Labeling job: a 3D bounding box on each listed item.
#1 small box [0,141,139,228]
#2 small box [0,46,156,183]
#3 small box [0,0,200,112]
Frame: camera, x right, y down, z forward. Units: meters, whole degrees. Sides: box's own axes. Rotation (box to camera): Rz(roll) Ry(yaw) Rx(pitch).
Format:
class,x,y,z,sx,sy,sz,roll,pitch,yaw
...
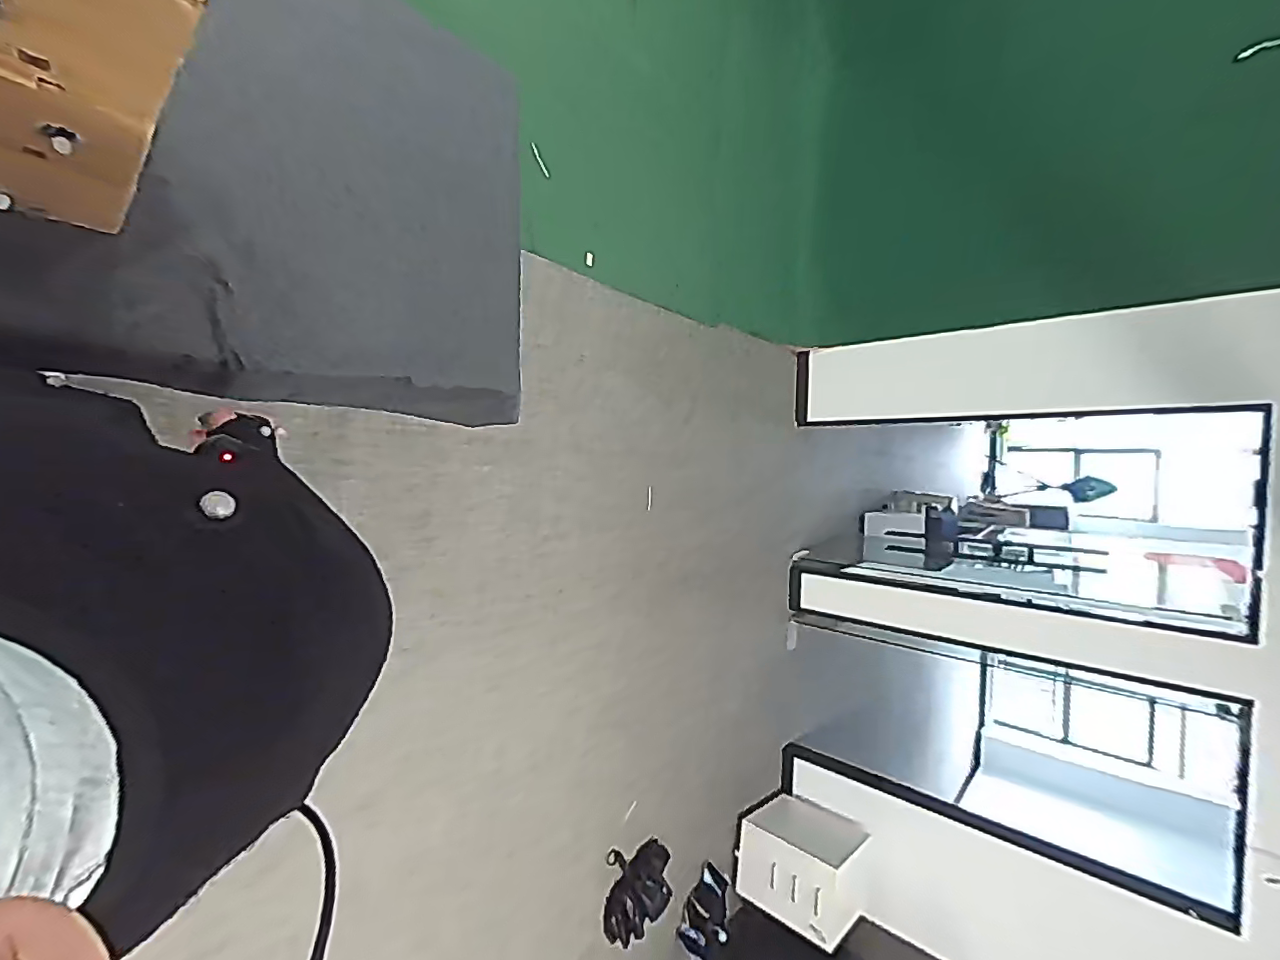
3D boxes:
class,x,y,z,sx,sy,sz,roll,pitch,yaw
small box,-0.589,-0.369,0.506,0.168,0.176,0.179,2,92,-48
small box,-0.468,-0.358,0.399,0.168,0.176,0.179,6,87,-49
small box,-0.344,-0.351,0.293,0.168,0.176,0.179,9,87,-49
